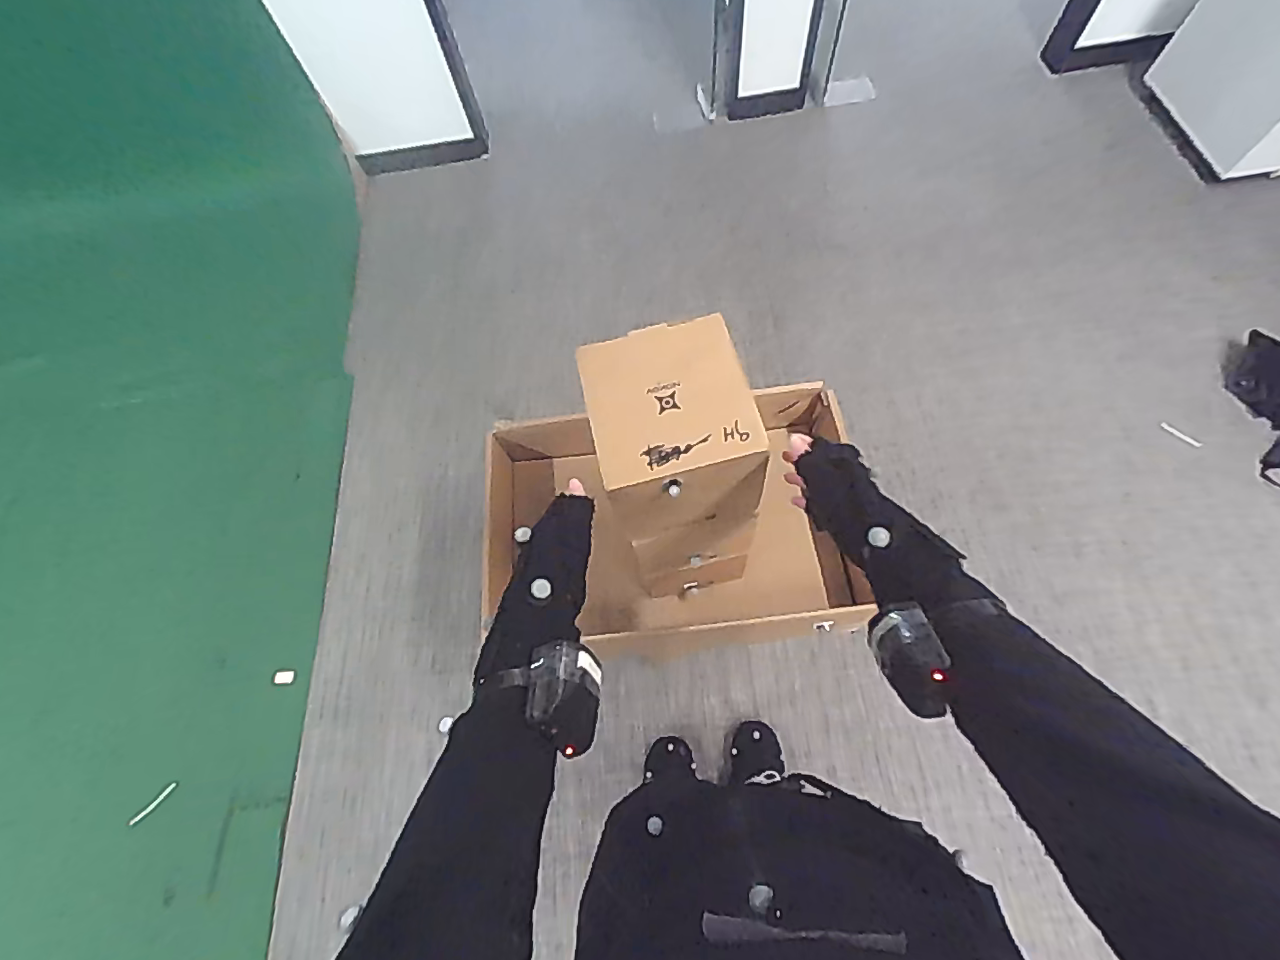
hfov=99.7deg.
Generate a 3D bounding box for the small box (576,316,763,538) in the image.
[{"bbox_3d":[0.033,-0.054,0.630,0.168,0.176,0.179,-15,64,2],"label":"small box"}]

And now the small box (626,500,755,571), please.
[{"bbox_3d":[0.056,0.014,0.777,0.168,0.176,0.179,-14,66,2],"label":"small box"}]

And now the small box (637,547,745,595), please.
[{"bbox_3d":[0.072,0.082,0.925,0.168,0.176,0.179,-14,66,1],"label":"small box"}]
